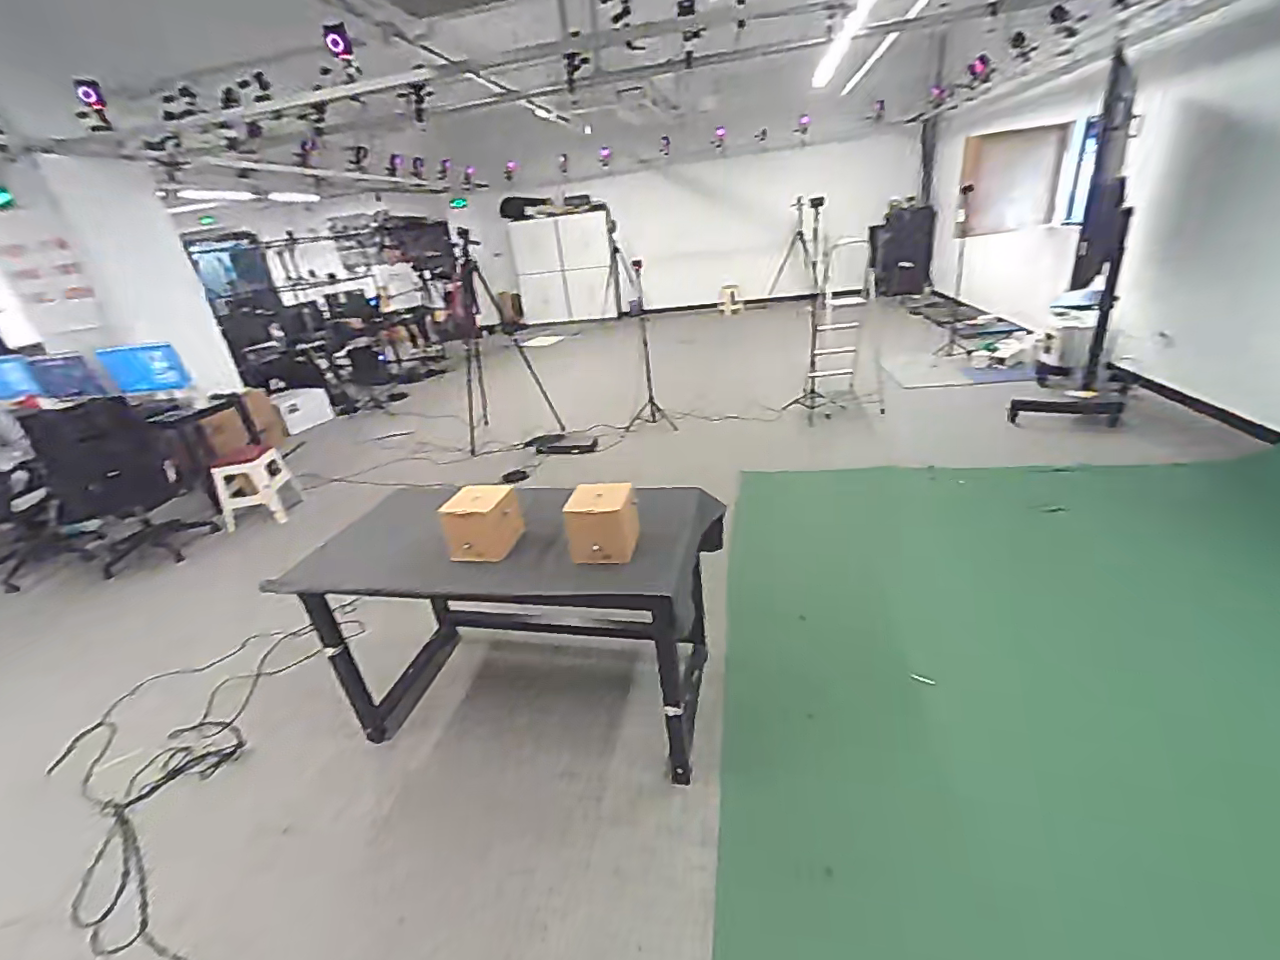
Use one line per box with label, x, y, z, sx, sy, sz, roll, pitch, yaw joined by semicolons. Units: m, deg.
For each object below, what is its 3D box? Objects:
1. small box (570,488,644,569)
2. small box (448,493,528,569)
small box;-0.087;0.137;1.554;0.168;0.176;0.179;-3;24;13
small box;-0.453;0.151;1.647;0.168;0.176;0.179;-1;25;14
